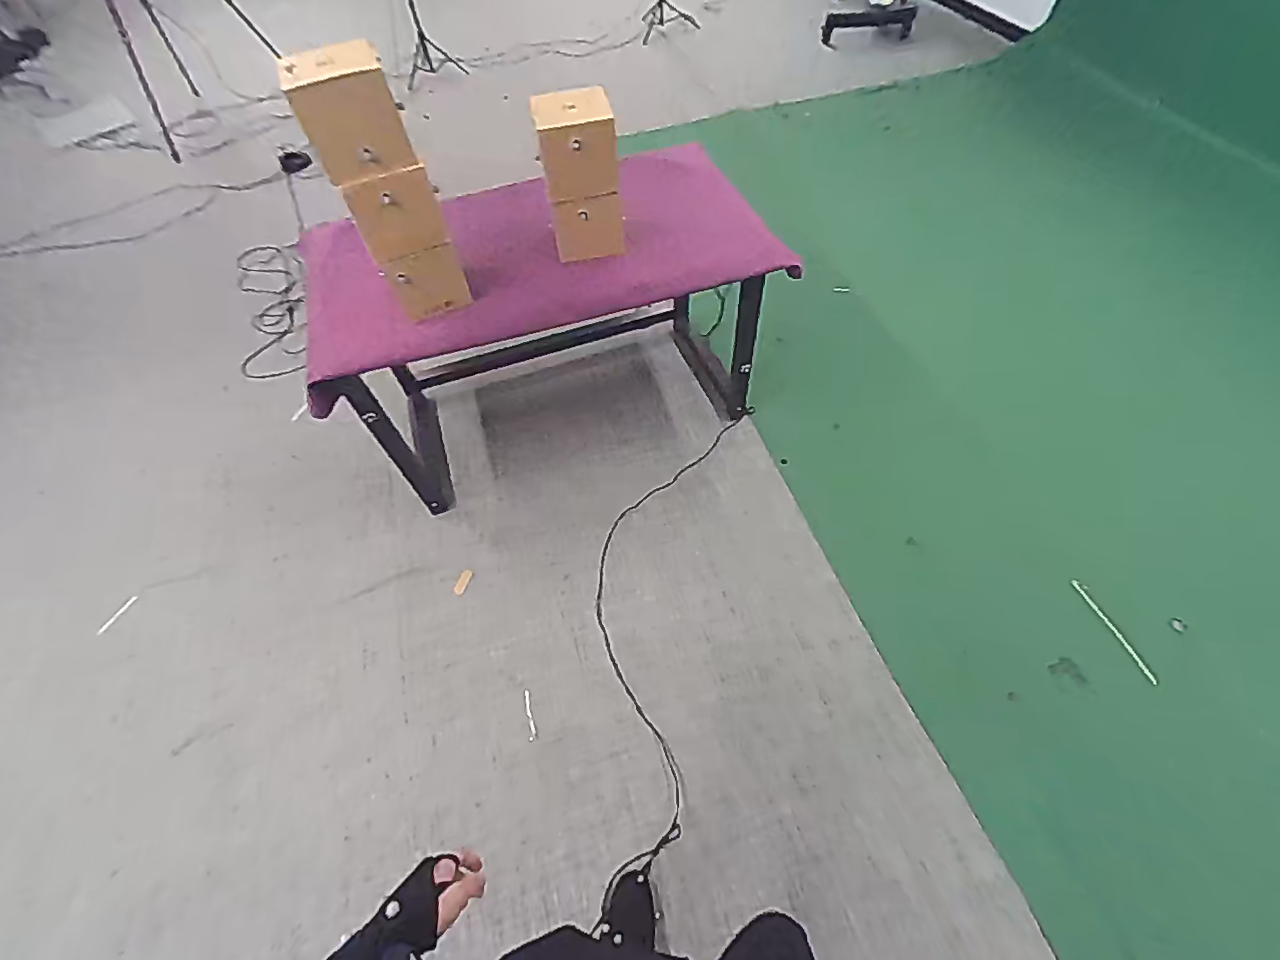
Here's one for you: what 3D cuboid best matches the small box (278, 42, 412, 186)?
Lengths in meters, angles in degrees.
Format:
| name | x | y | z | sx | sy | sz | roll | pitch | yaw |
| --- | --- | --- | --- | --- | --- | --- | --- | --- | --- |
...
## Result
| name | x | y | z | sx | sy | sz | roll | pitch | yaw |
| --- | --- | --- | --- | --- | --- | --- | --- | --- | --- |
| small box | -0.562 | -0.706 | 1.049 | 0.179 | 0.176 | 0.168 | -22 | 57 | -11 |

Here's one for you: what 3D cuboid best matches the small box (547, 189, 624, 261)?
| name | x | y | z | sx | sy | sz | roll | pitch | yaw |
| --- | --- | --- | --- | --- | --- | --- | --- | --- | --- |
| small box | -0.144 | -0.695 | 1.408 | 0.179 | 0.176 | 0.168 | -10 | 57 | -4 |

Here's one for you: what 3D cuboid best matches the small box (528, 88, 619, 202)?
| name | x | y | z | sx | sy | sz | roll | pitch | yaw |
| --- | --- | --- | --- | --- | --- | --- | --- | --- | --- |
| small box | -0.152 | -0.781 | 1.270 | 0.179 | 0.176 | 0.168 | -11 | 58 | -4 |

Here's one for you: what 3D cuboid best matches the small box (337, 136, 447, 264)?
| name | x | y | z | sx | sy | sz | roll | pitch | yaw |
| --- | --- | --- | --- | --- | --- | --- | --- | --- | --- |
| small box | -0.538 | -0.606 | 1.178 | 0.179 | 0.176 | 0.168 | -23 | 58 | -11 |
